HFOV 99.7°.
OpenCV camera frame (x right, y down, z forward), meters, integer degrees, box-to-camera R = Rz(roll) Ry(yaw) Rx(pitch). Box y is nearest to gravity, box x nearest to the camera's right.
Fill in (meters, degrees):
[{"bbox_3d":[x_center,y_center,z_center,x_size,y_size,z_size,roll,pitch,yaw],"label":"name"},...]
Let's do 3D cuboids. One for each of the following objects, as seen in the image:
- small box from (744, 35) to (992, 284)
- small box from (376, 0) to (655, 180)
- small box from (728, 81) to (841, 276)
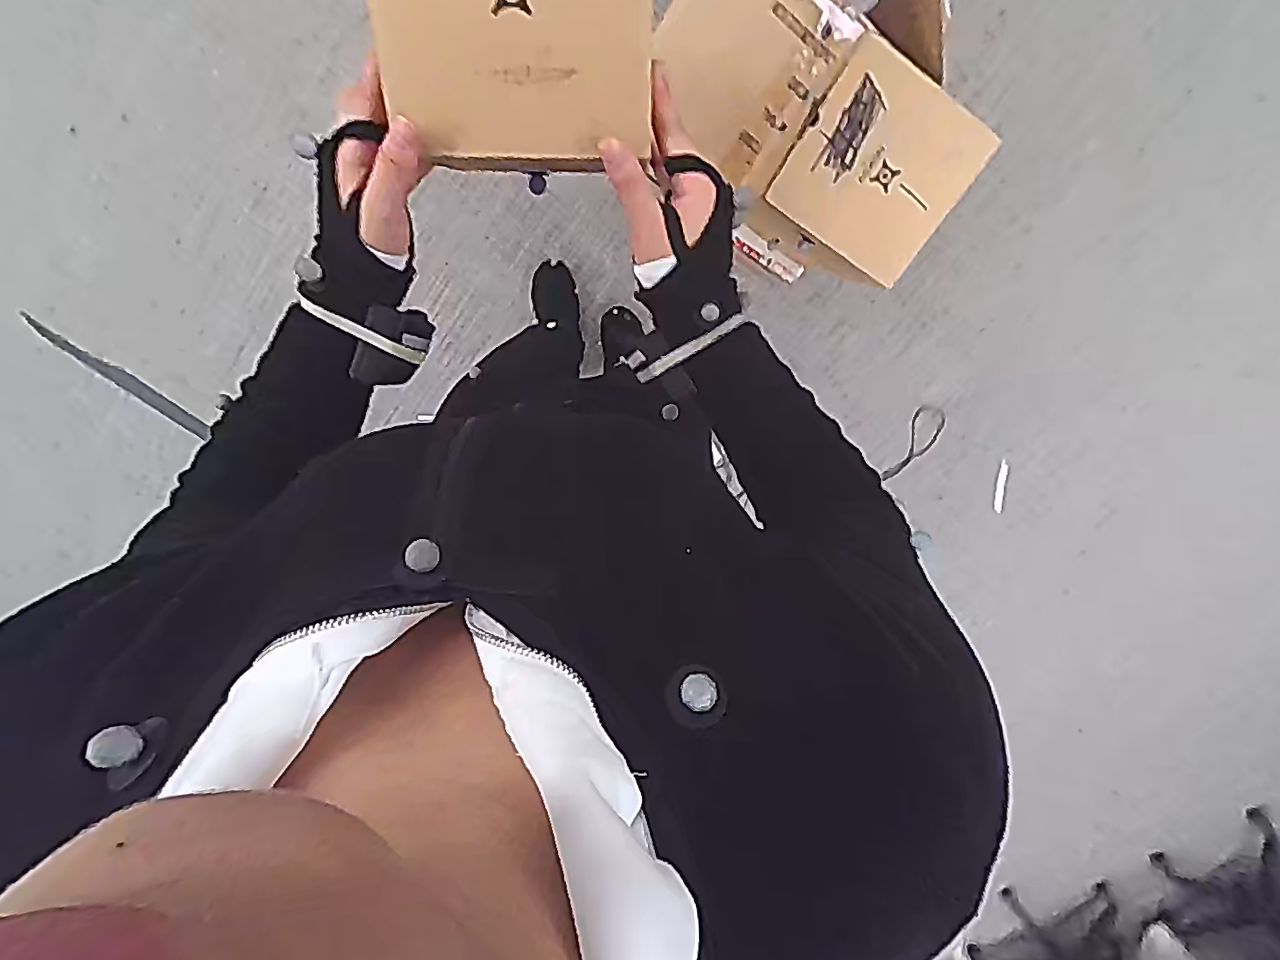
[{"bbox_3d":[0.242,-0.350,0.627,0.179,0.176,0.168,30,112,-12],"label":"small box"},{"bbox_3d":[-0.075,-0.319,0.387,0.168,0.176,0.179,0,118,0],"label":"small box"},{"bbox_3d":[0.249,-0.422,0.777,0.179,0.176,0.168,29,112,-12],"label":"small box"}]
